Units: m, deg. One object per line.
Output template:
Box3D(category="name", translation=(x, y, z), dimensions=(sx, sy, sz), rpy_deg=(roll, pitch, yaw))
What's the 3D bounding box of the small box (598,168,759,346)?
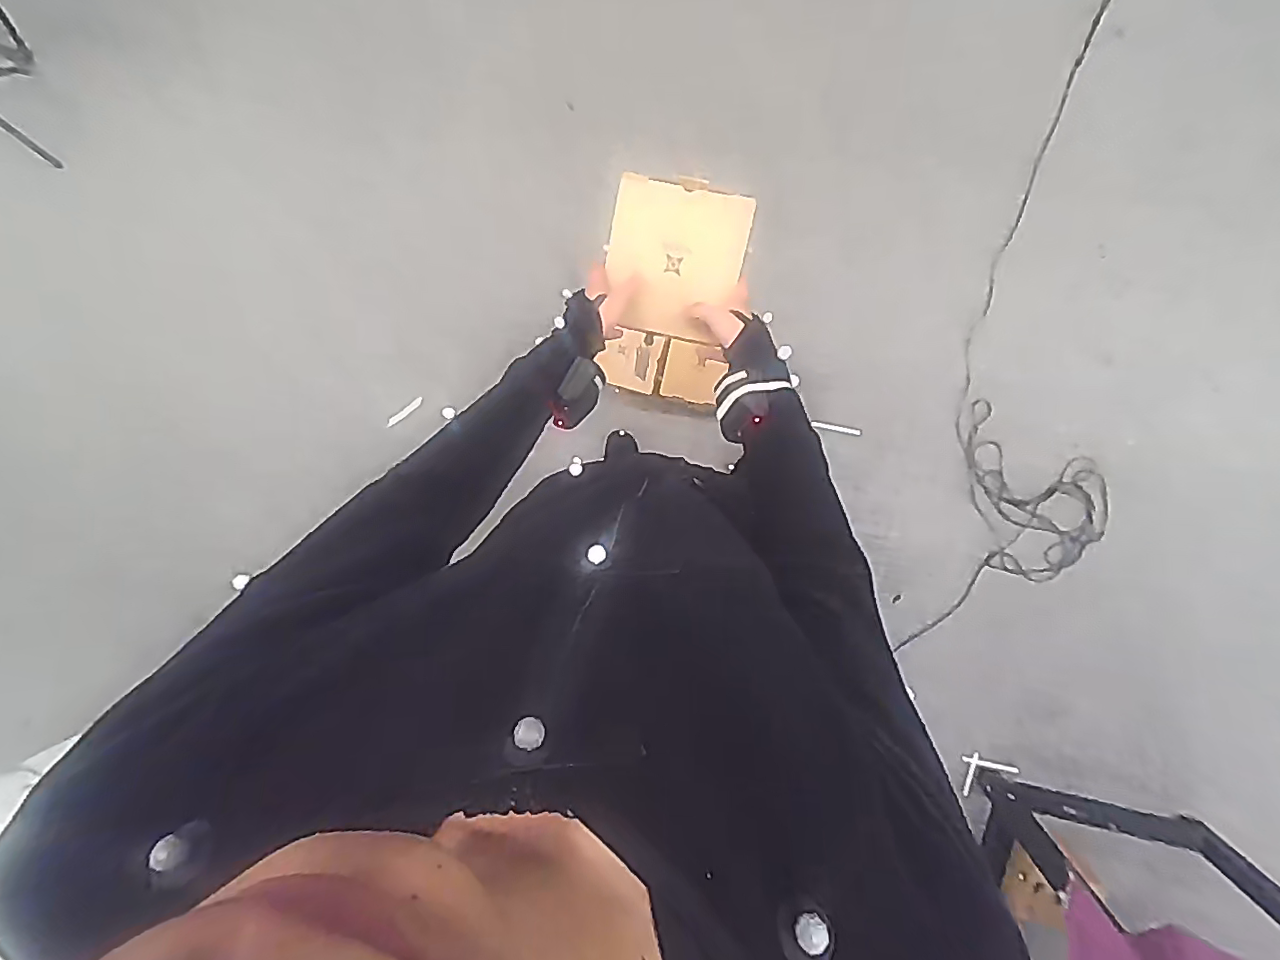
Box3D(category="small box", translation=(0.048, -0.287, 0.732), dimensions=(0.168, 0.176, 0.179), rpy_deg=(12, 104, 1))
